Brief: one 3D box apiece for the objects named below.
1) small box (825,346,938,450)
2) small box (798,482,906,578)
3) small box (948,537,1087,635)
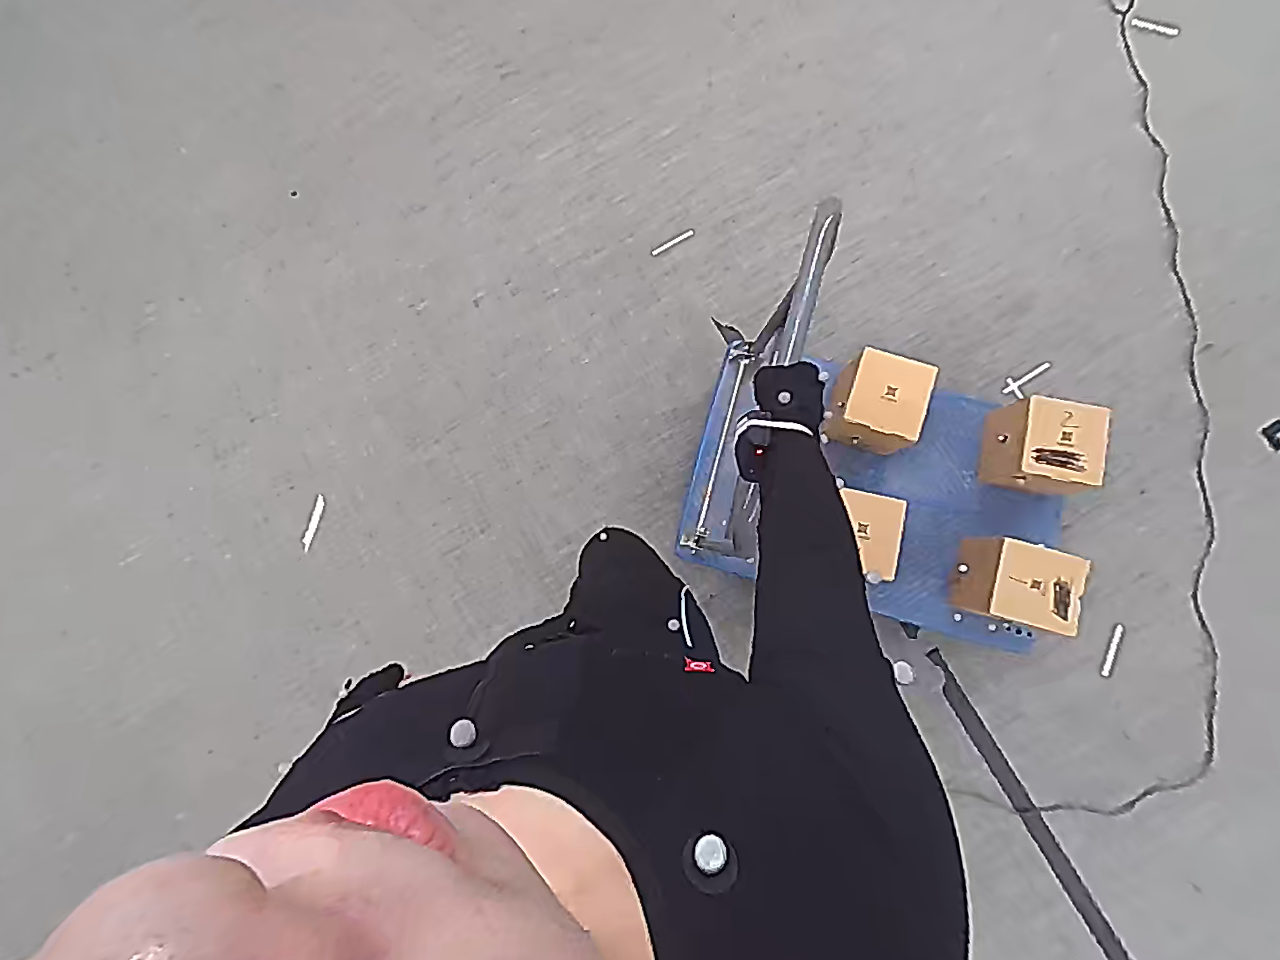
[{"bbox_3d":[0.551,-0.183,1.257,0.168,0.176,0.179,18,85,4],"label":"small box"},{"bbox_3d":[0.470,0.115,1.223,0.168,0.176,0.179,13,83,4],"label":"small box"},{"bbox_3d":[0.824,0.226,1.195,0.179,0.176,0.168,16,84,5],"label":"small box"}]
